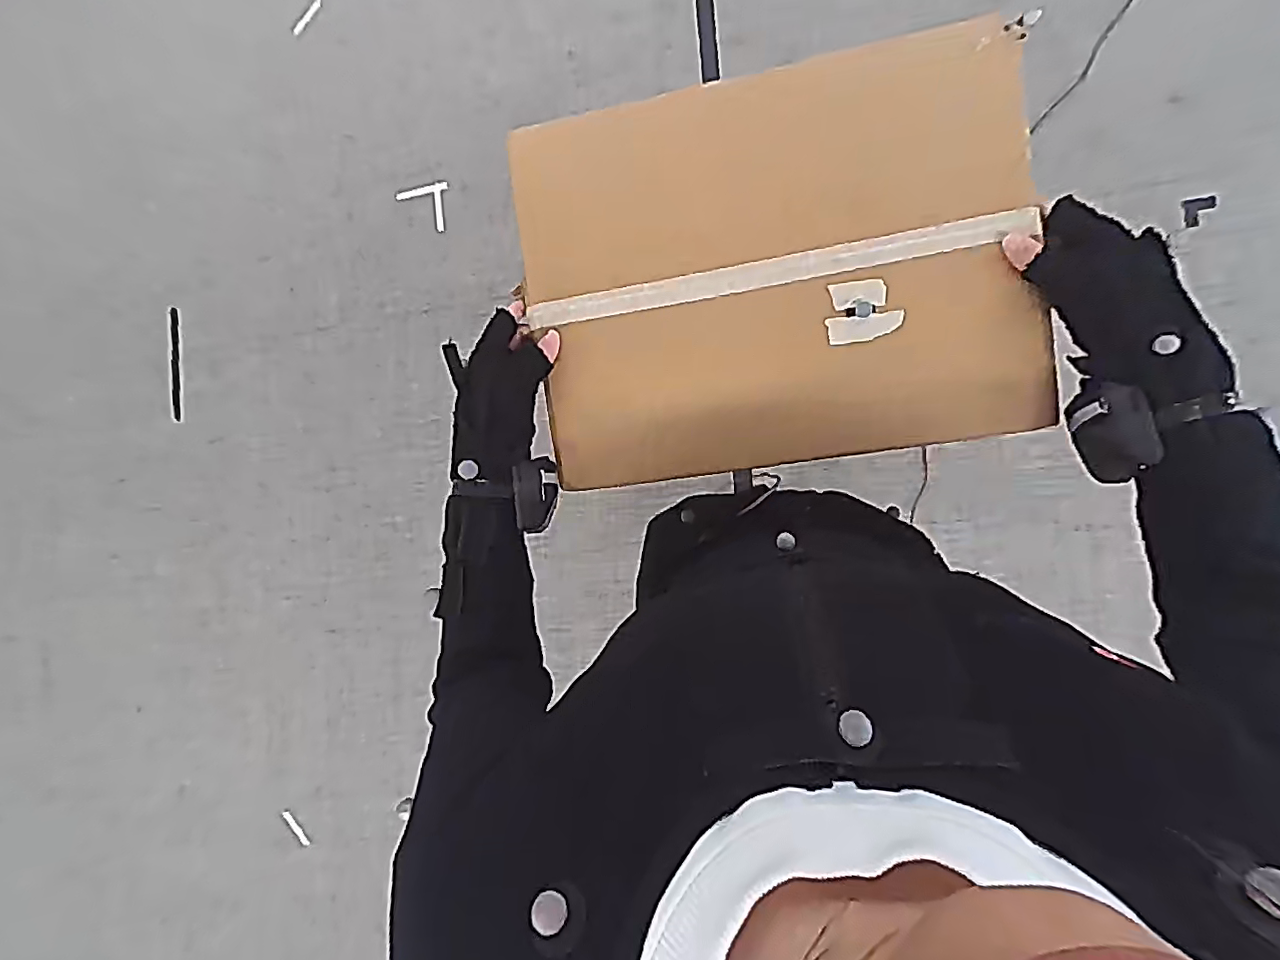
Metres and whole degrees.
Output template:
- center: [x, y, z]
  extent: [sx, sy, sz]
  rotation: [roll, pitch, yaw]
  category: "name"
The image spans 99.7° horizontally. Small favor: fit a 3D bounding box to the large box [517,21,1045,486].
- center: [0.126, -0.186, 0.600]
  extent: [0.408, 0.320, 0.320]
  rotation: [-9, 94, 8]
  category: "large box"
